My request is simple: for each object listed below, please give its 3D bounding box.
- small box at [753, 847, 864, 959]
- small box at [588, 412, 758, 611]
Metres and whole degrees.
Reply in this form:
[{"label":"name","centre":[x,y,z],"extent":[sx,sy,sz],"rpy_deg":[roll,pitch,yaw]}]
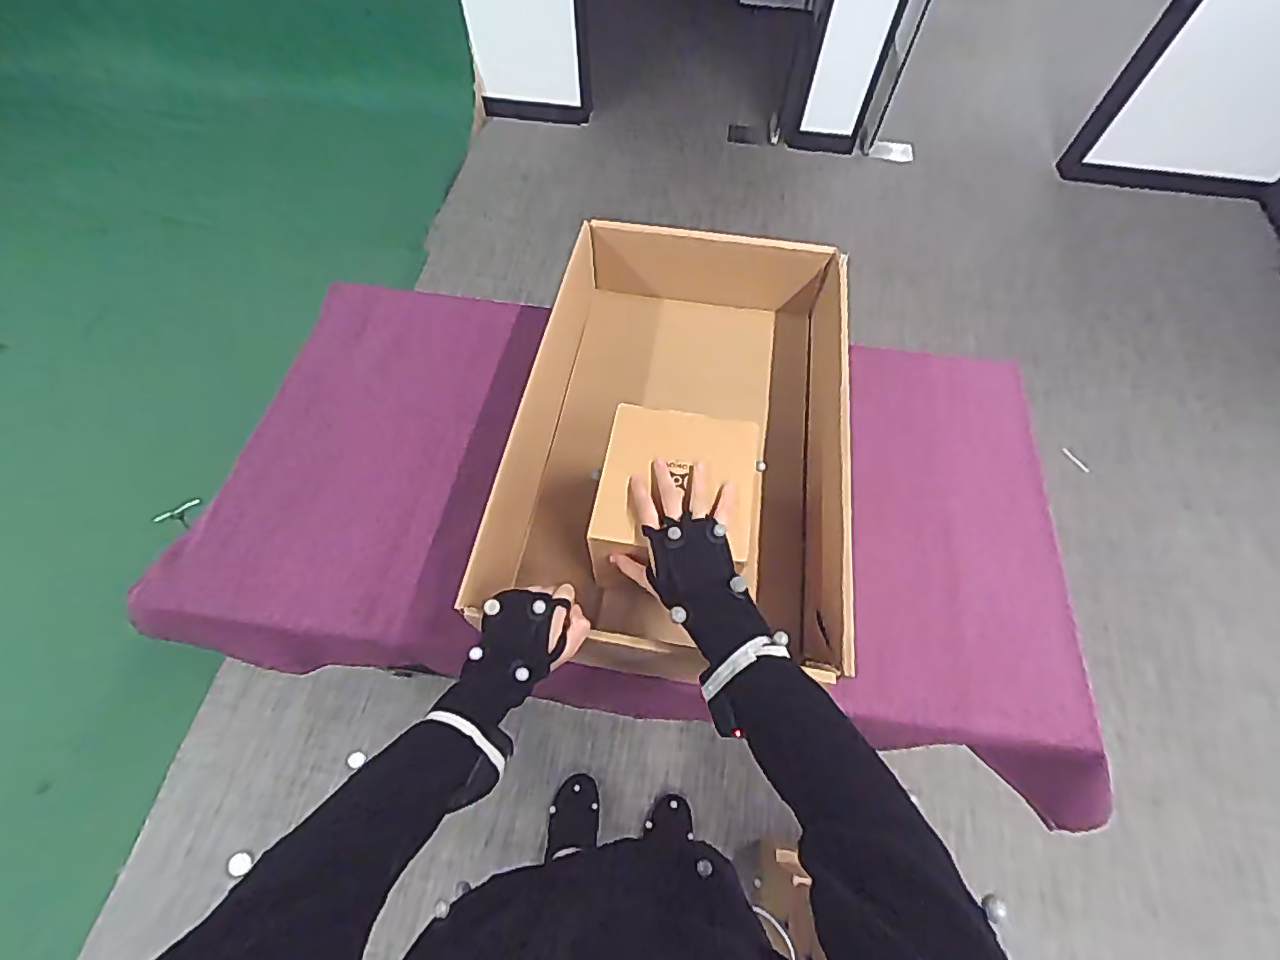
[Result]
[{"label":"small box","centre":[0.338,0.867,1.104],"extent":[0.179,0.176,0.168],"rpy_deg":[7,62,3]},{"label":"small box","centre":[0.041,0.045,0.655],"extent":[0.168,0.176,0.179],"rpy_deg":[8,60,5]}]
